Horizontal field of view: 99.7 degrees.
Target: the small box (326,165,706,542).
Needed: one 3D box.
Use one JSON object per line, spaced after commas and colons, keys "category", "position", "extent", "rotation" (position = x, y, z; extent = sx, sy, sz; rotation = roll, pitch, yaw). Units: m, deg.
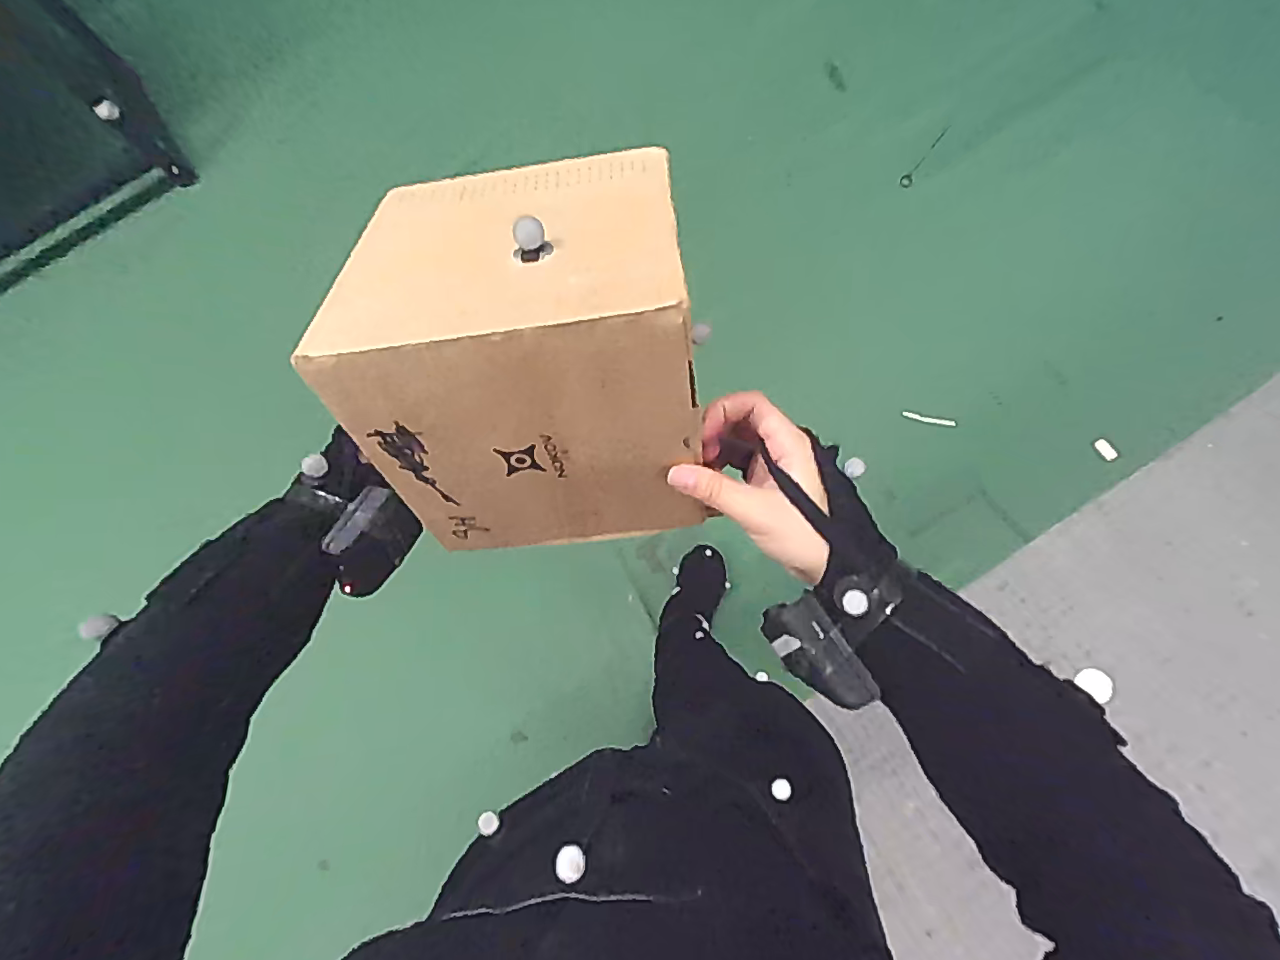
{"category": "small box", "position": [-0.055, -0.080, 0.353], "extent": [0.179, 0.168, 0.176], "rotation": [-6, 50, 4]}
